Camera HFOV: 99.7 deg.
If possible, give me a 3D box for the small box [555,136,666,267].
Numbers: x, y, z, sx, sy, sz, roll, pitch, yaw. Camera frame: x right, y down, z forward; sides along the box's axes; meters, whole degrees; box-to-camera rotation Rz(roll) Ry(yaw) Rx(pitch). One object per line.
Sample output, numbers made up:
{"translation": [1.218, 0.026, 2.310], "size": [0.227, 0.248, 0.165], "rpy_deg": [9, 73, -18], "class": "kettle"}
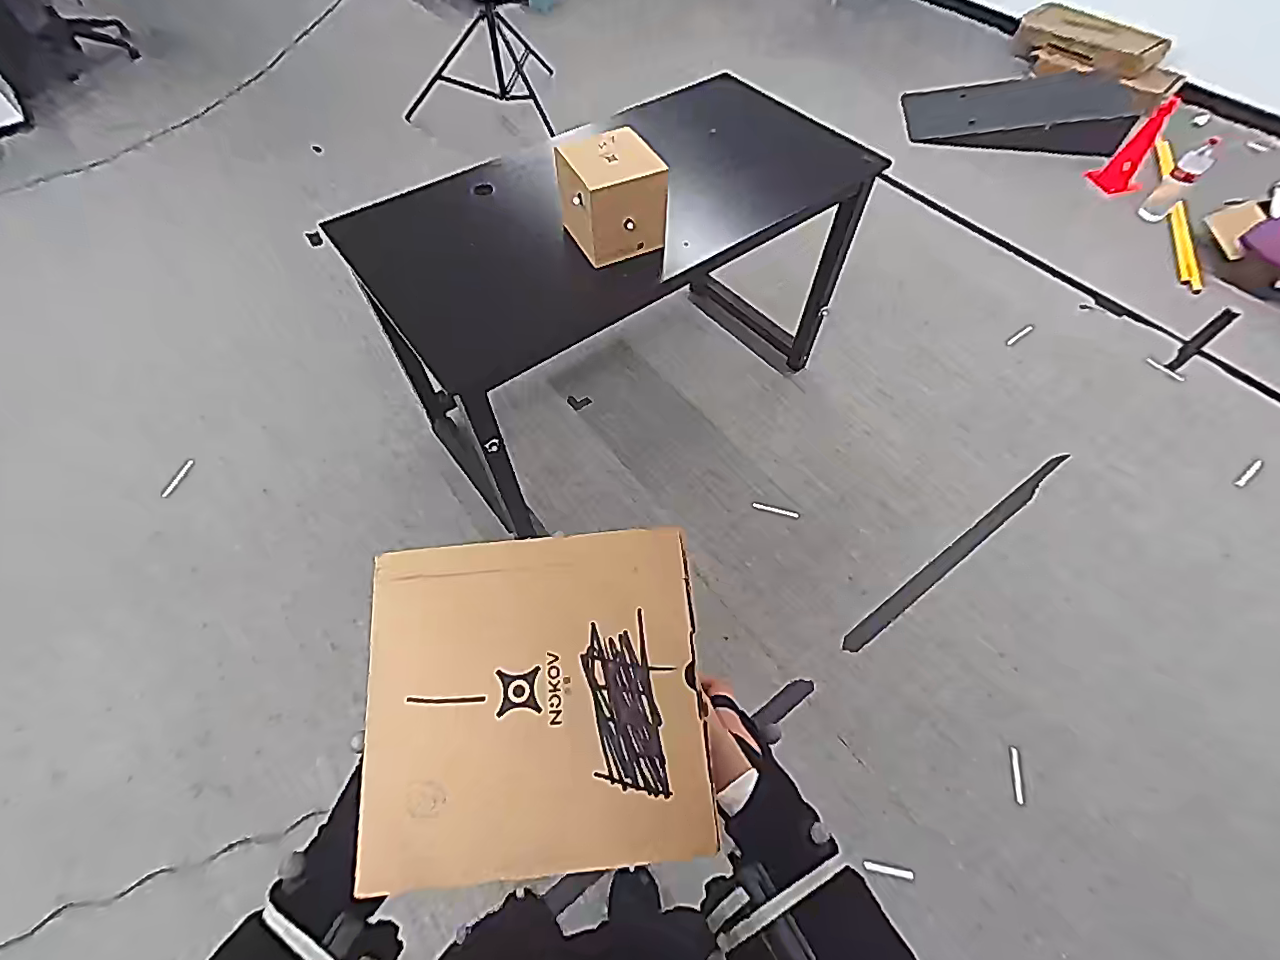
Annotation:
{"translation": [-0.058, -0.563, 1.110], "size": [0.168, 0.176, 0.179], "rpy_deg": [-23, 61, -15], "class": "small box"}
